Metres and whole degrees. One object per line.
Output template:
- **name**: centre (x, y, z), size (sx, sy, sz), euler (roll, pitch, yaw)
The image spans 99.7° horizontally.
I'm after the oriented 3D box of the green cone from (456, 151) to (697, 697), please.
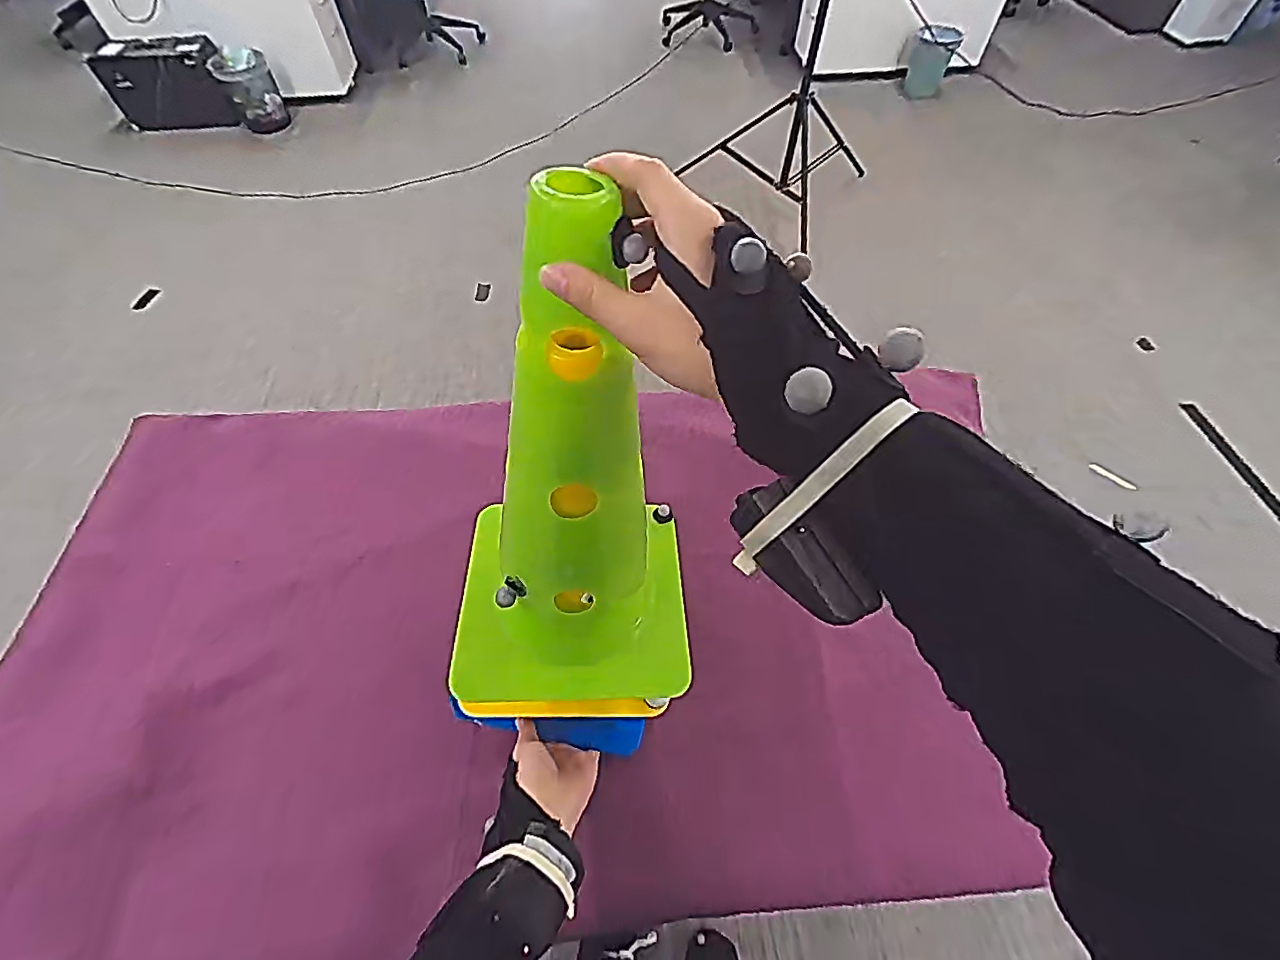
- **green cone**: centre (-0.043, -0.017, 0.365), size (0.200, 0.368, 0.202), euler (0, 50, -6)
